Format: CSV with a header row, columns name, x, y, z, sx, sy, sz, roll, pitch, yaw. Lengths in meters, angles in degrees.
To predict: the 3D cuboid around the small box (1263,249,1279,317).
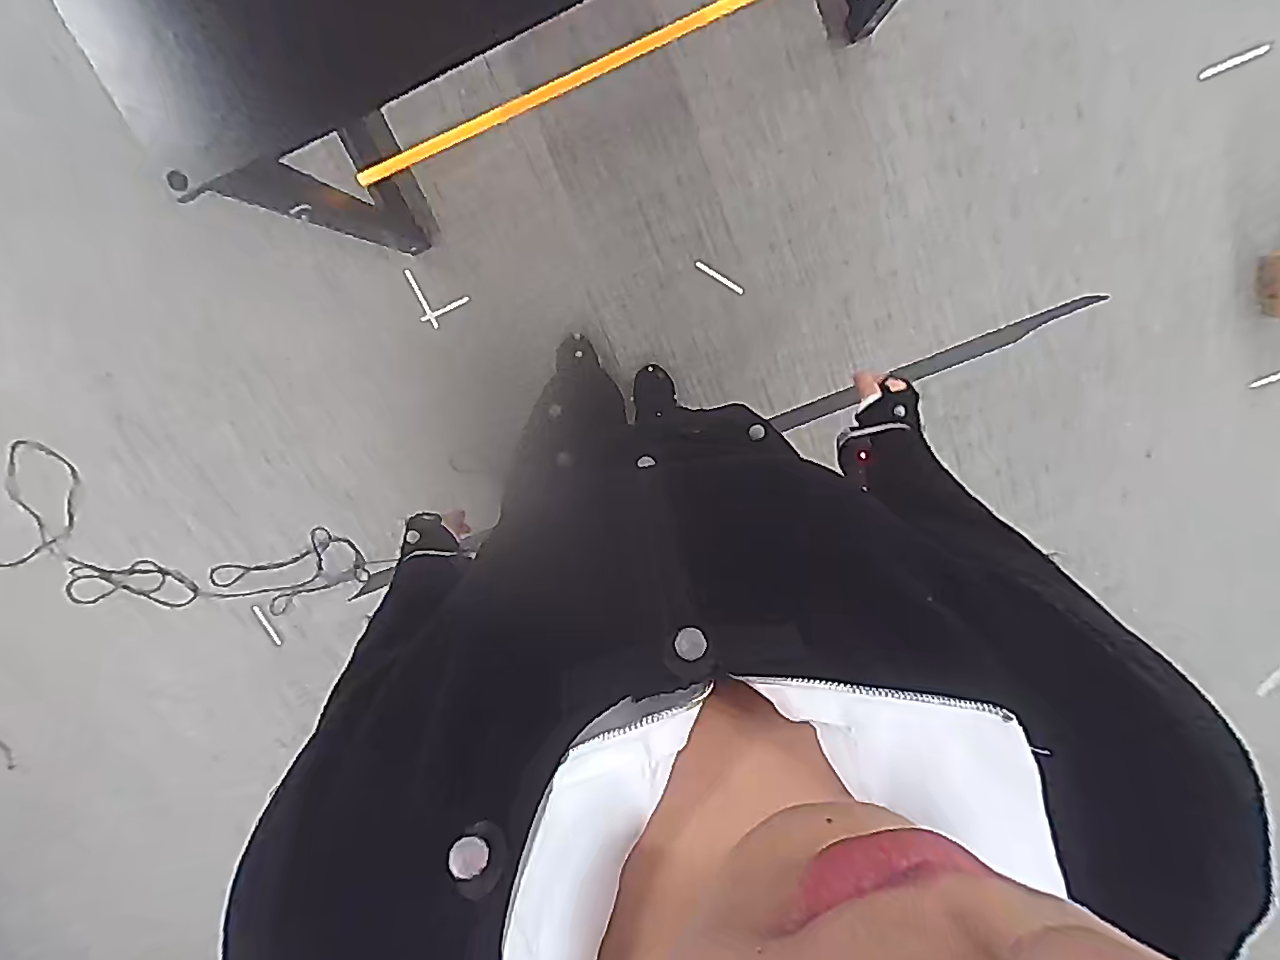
name,x,y,z,sx,sy,sz,roll,pitch,yaw
small box,1.685,-0.505,1.314,0.179,0.176,0.168,-22,105,6
